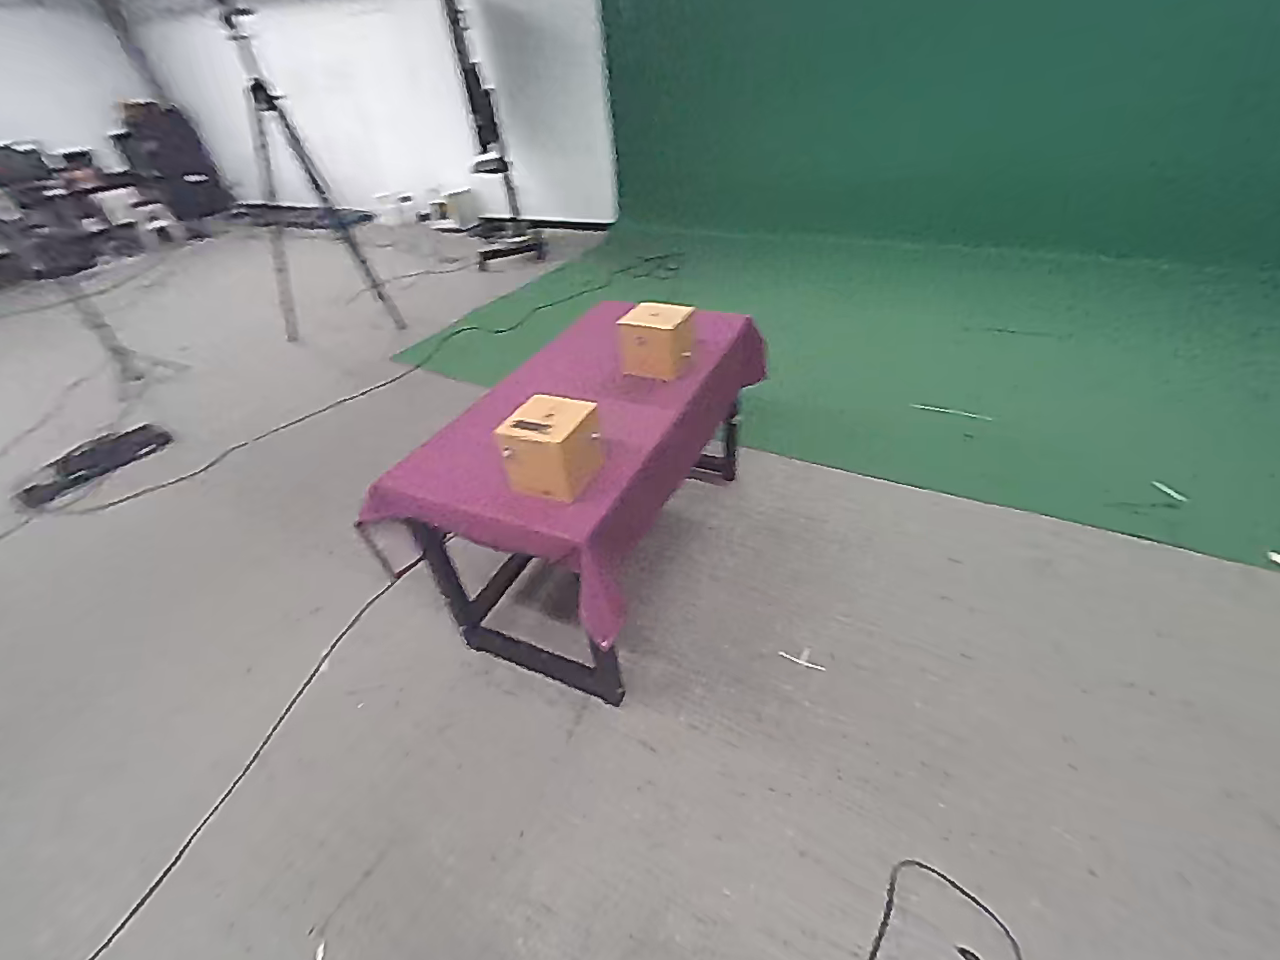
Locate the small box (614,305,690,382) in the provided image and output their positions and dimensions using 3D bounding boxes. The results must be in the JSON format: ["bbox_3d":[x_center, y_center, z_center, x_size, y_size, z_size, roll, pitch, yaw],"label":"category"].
[{"bbox_3d":[0.041,-0.416,1.647,0.179,0.176,0.168,15,44,24],"label":"small box"}]
